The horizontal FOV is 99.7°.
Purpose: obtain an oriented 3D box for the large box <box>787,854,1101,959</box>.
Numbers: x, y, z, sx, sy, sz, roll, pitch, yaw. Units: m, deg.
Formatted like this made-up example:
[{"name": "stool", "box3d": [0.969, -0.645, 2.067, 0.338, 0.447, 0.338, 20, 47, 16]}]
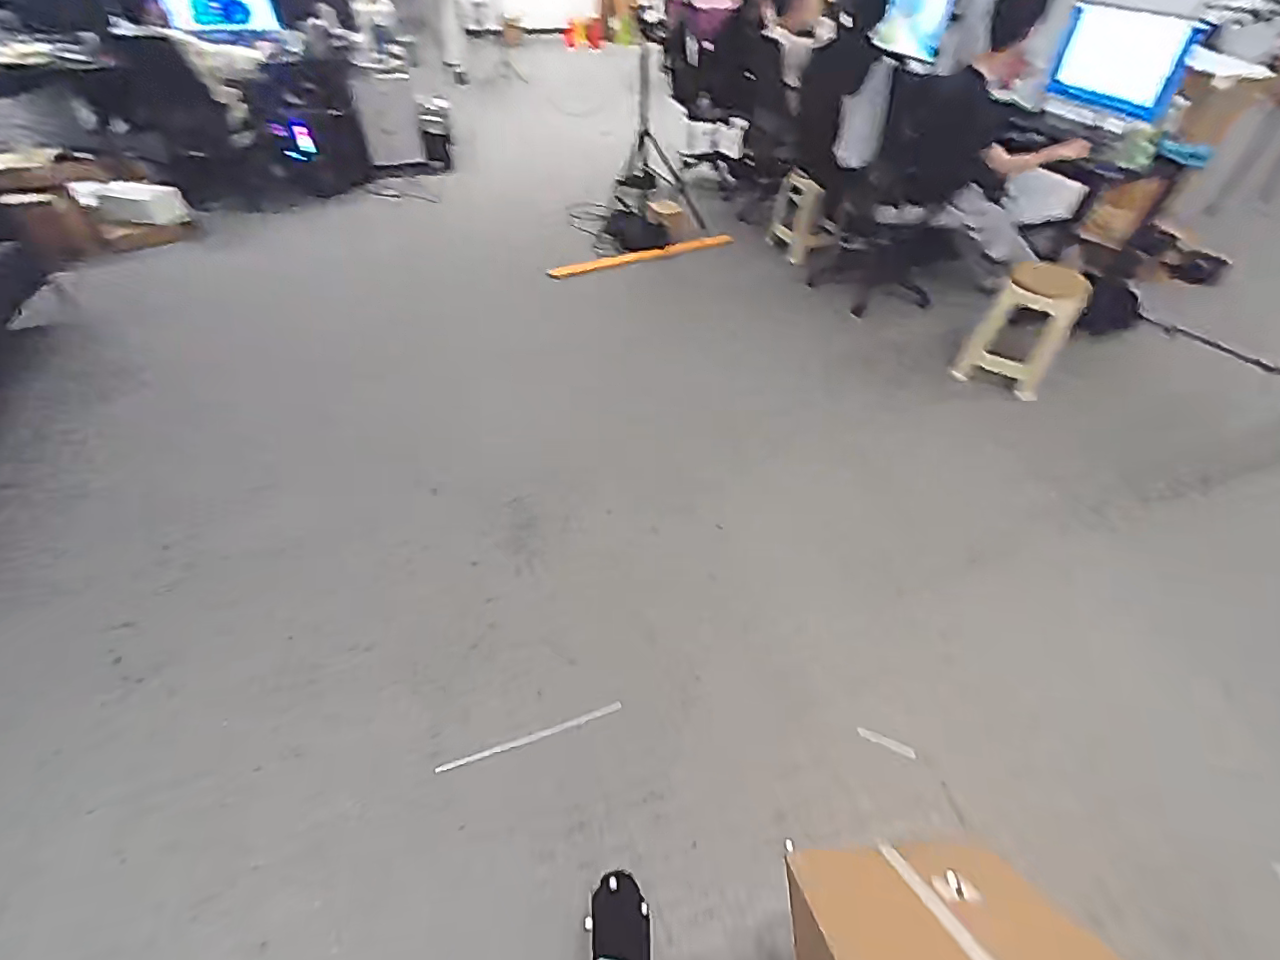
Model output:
[{"name": "large box", "box3d": [0.396, 0.724, 0.650, 0.320, 0.408, 0.320, -3, 78, 1]}]
